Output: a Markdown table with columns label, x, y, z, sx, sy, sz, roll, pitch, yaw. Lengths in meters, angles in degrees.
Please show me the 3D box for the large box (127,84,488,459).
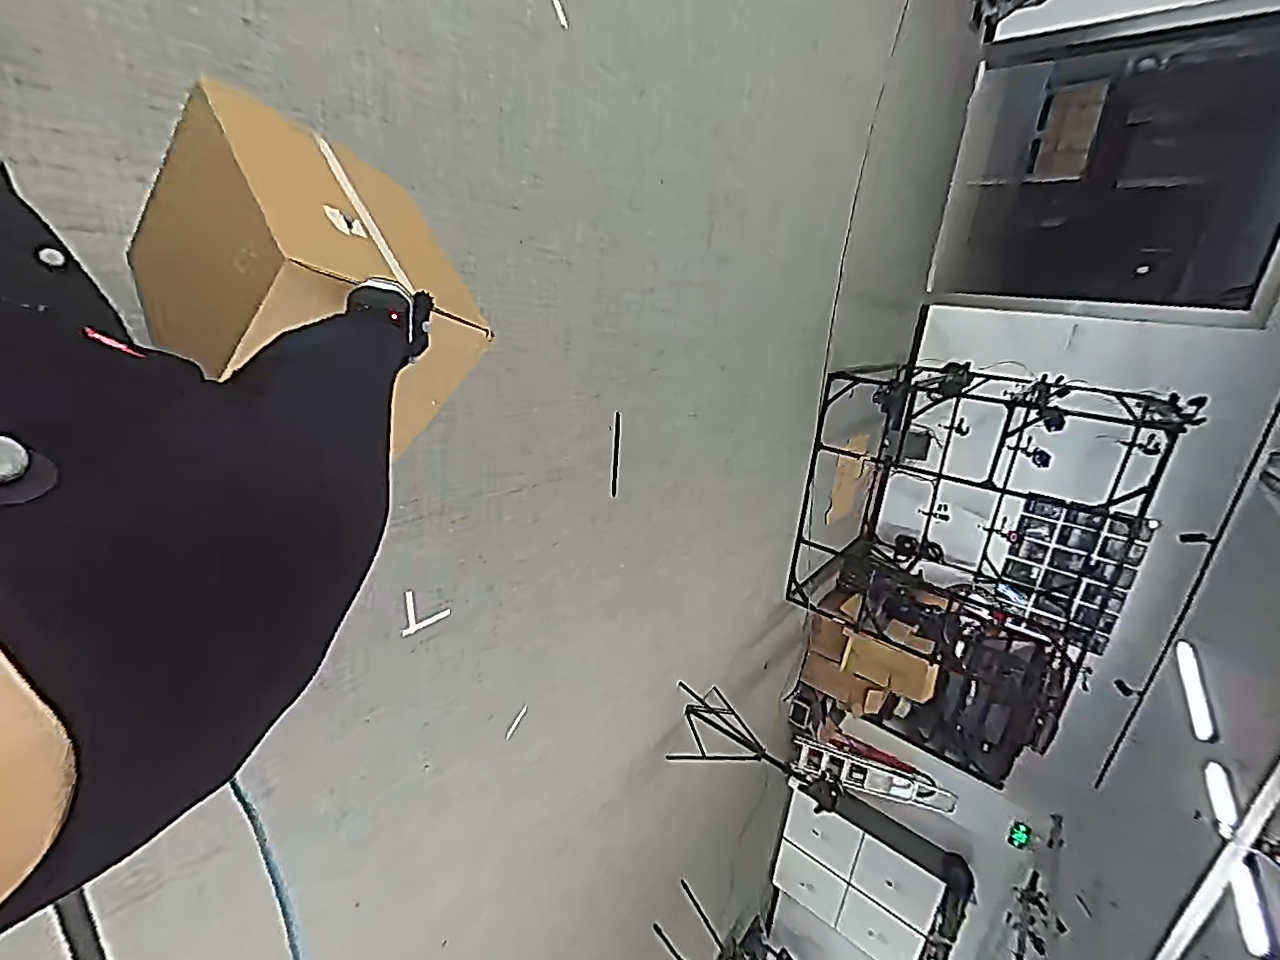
| label | x | y | z | sx | sy | sz | roll | pitch | yaw |
| --- | --- | --- | --- | --- | --- | --- | --- | --- | --- |
| large box | -0.526 | -0.292 | 0.859 | 0.320 | 0.408 | 0.320 | -42 | 158 | 22 |
